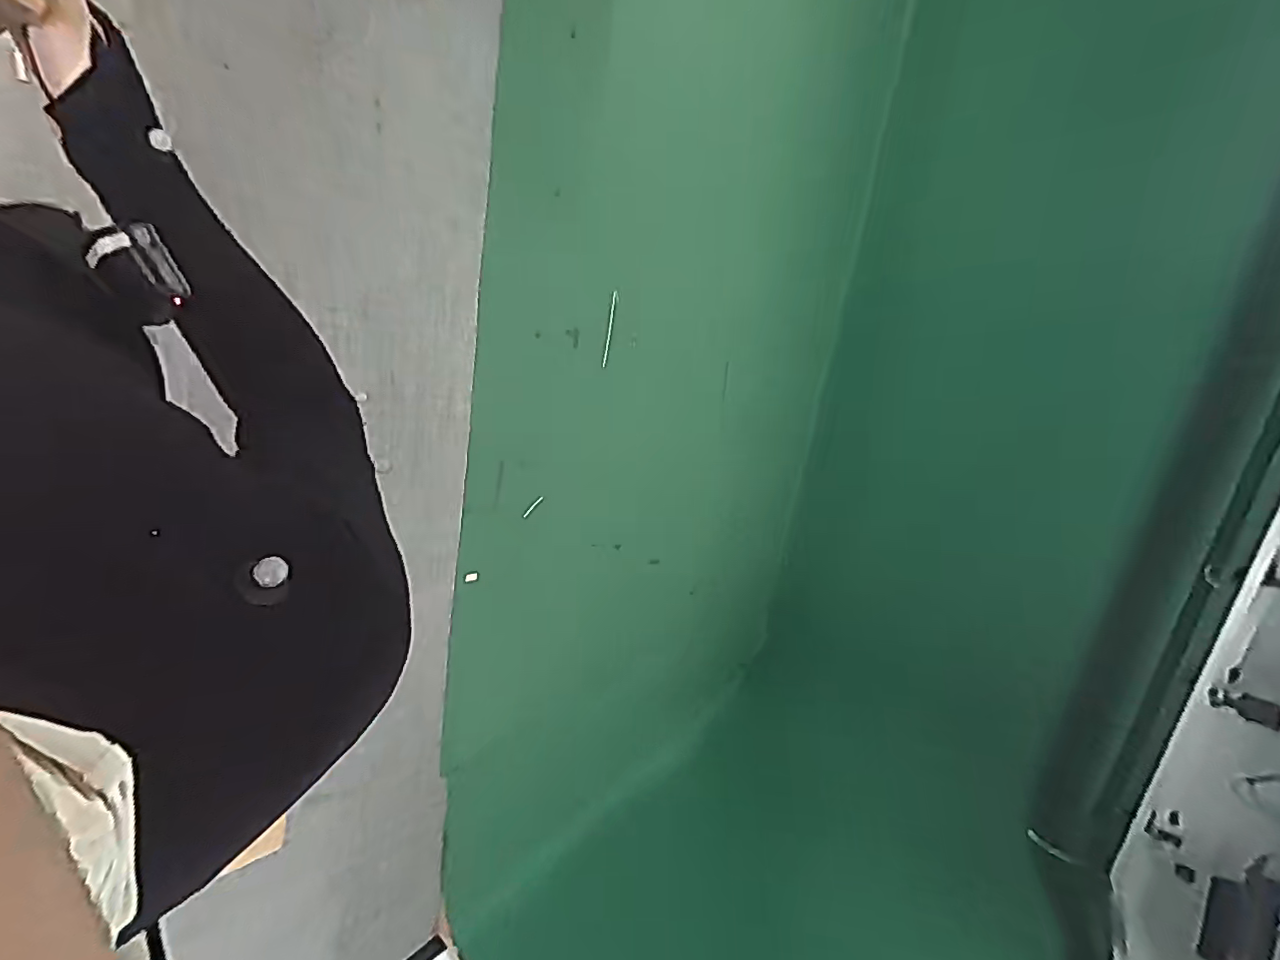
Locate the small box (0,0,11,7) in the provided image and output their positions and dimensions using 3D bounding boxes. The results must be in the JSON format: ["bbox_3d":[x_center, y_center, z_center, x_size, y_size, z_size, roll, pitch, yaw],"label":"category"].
[{"bbox_3d":[-0.432,-0.397,0.279,0.168,0.176,0.179,5,108,-55],"label":"small box"}]
